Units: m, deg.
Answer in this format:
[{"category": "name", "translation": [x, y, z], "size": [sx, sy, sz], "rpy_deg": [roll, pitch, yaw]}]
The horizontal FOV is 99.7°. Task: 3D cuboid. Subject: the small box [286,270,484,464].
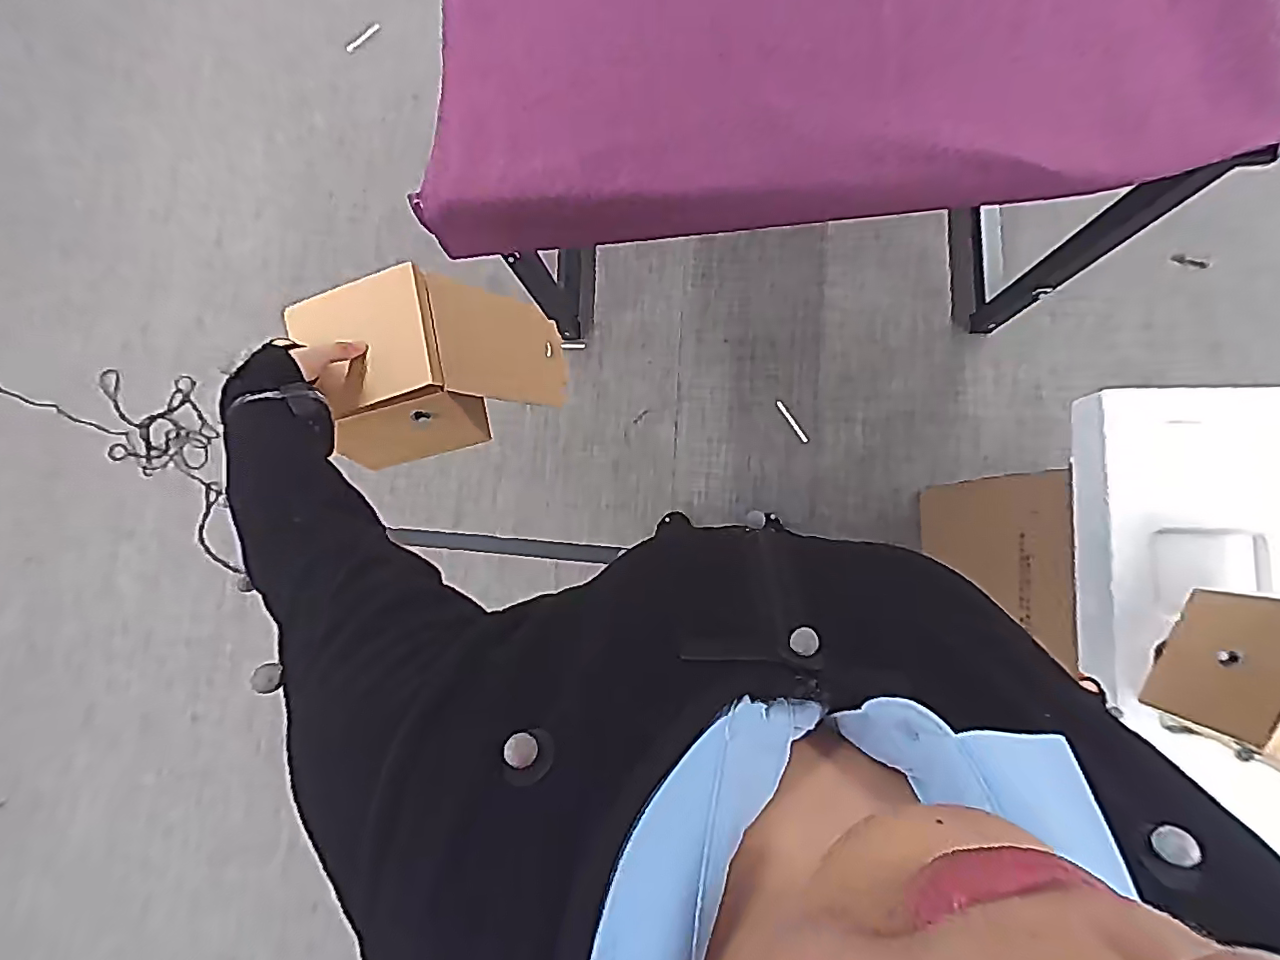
[{"category": "small box", "translation": [-0.316, -0.136, 0.703], "size": [0.179, 0.176, 0.168], "rpy_deg": [-15, 74, 0]}]
